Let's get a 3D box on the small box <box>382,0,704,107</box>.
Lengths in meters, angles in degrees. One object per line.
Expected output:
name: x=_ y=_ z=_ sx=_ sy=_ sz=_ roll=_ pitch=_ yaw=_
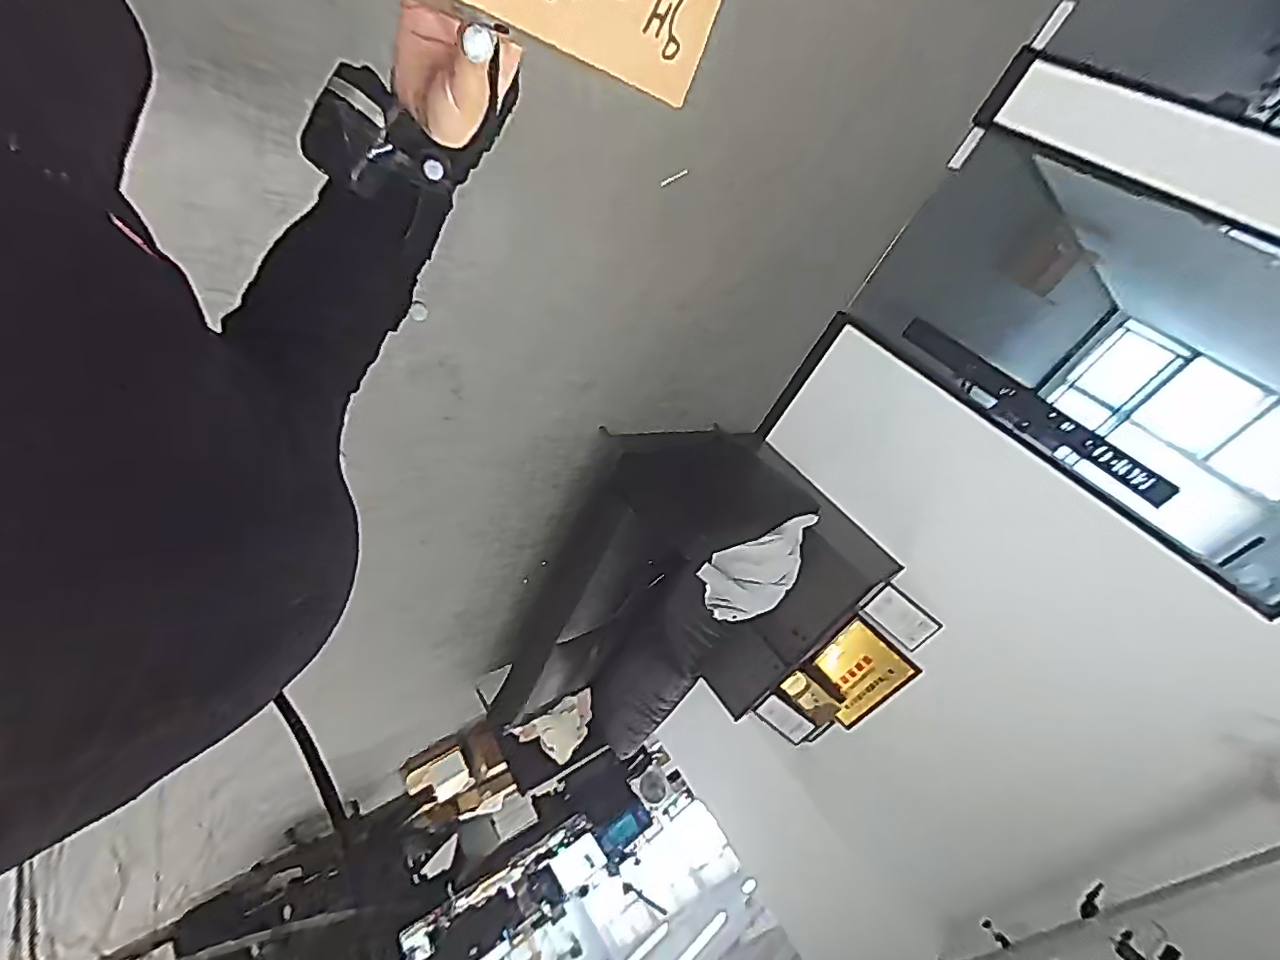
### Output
small box: x=-0.067 y=-0.281 z=0.200 sx=0.168 sy=0.176 sz=0.179 roll=-19 pitch=140 yaw=-47
